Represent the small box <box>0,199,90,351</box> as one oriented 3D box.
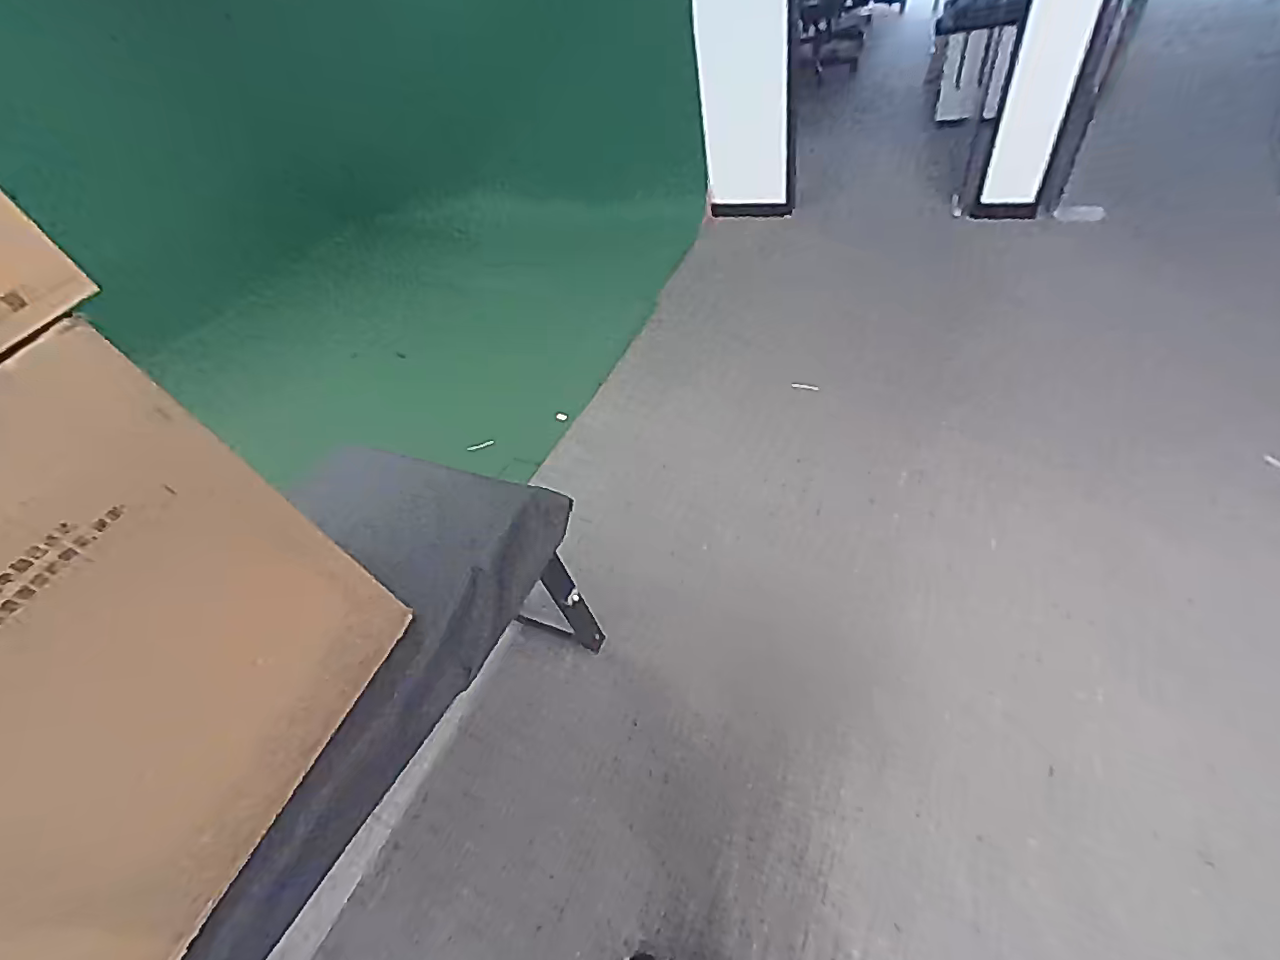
[{"bbox_3d":[-0.638,-0.182,0.446,0.179,0.176,0.168,5,49,19],"label":"small box"}]
